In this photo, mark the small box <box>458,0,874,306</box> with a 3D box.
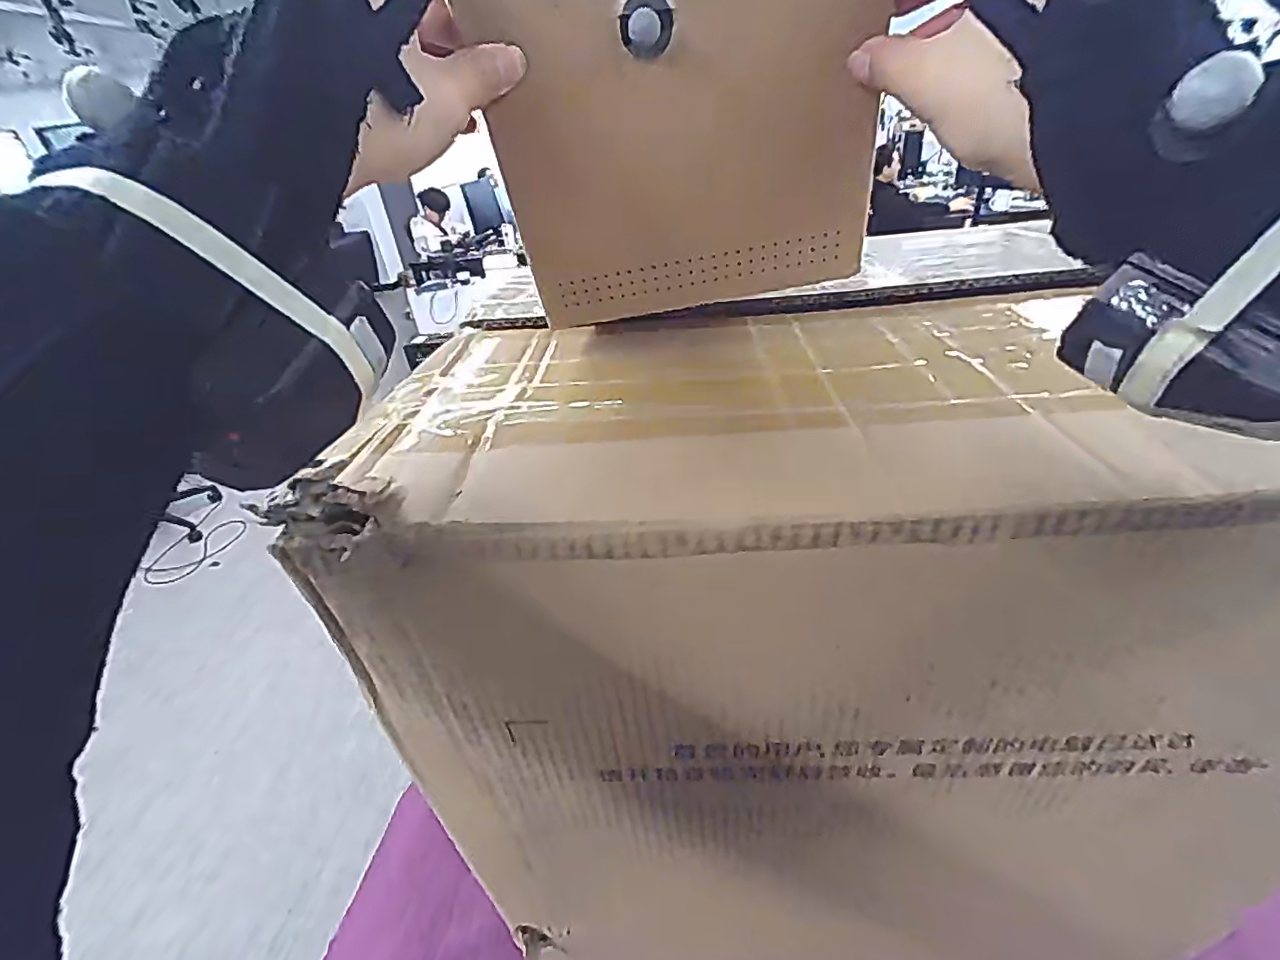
[{"bbox_3d":[0.017,-0.214,0.299,0.179,0.176,0.168,-8,45,5],"label":"small box"}]
